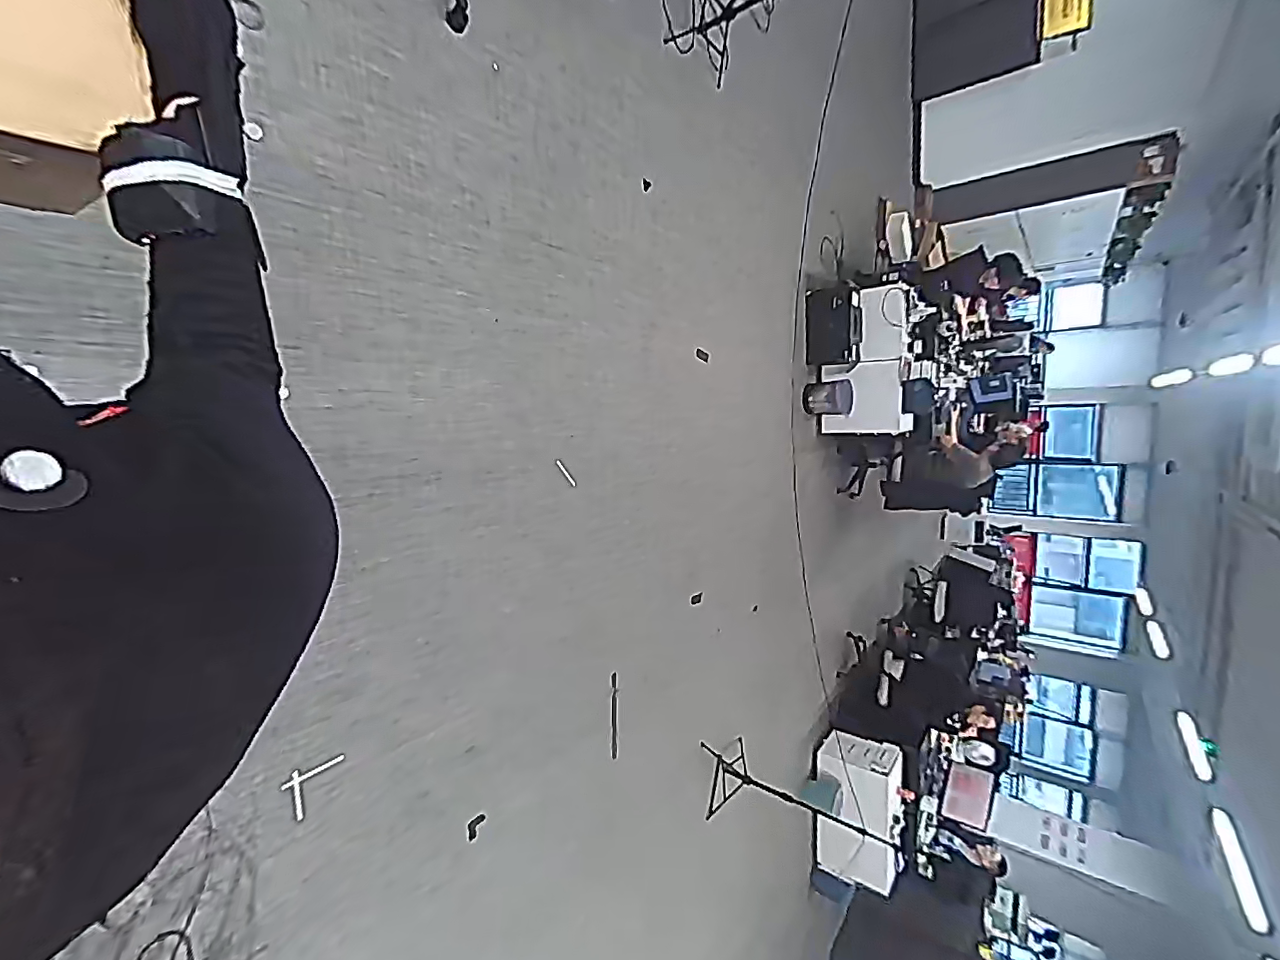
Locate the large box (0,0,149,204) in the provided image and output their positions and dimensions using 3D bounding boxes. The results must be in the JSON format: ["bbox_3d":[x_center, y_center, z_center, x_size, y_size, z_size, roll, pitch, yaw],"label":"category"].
[{"bbox_3d":[-0.594,-0.379,0.294,0.408,0.320,0.320,-14,112,-53],"label":"large box"}]
